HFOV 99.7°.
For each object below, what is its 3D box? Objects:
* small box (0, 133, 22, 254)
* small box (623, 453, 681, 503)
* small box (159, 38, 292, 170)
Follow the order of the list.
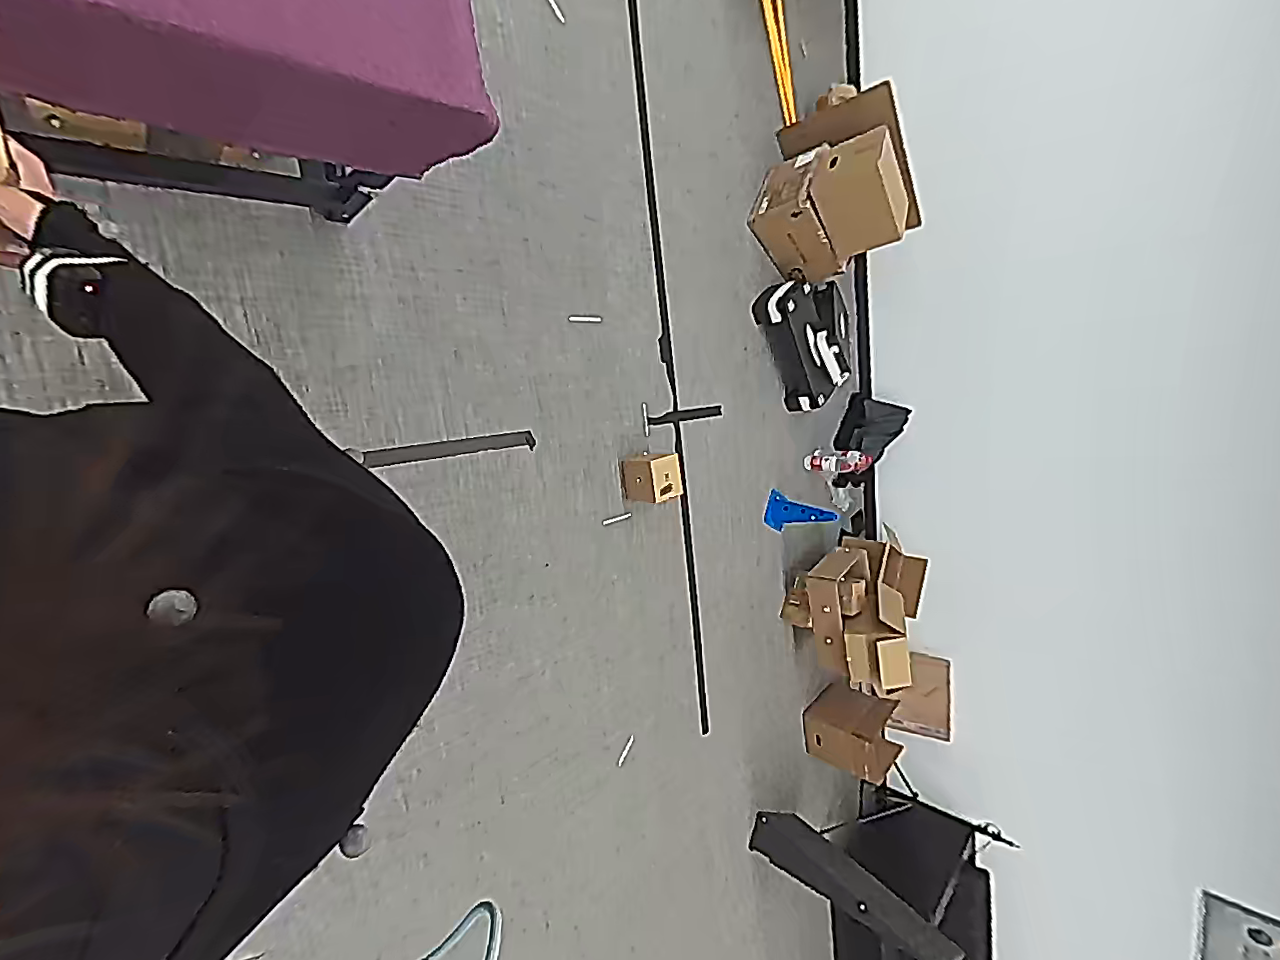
[{"bbox_3d":[-0.706,-0.304,0.477,0.168,0.176,0.179,-17,102,-57],"label":"small box"},{"bbox_3d":[0.048,-0.012,2.235,0.168,0.176,0.179,-17,105,-42],"label":"small box"},{"bbox_3d":[-0.941,-0.844,1.225,0.168,0.176,0.179,-48,123,-30],"label":"small box"}]
